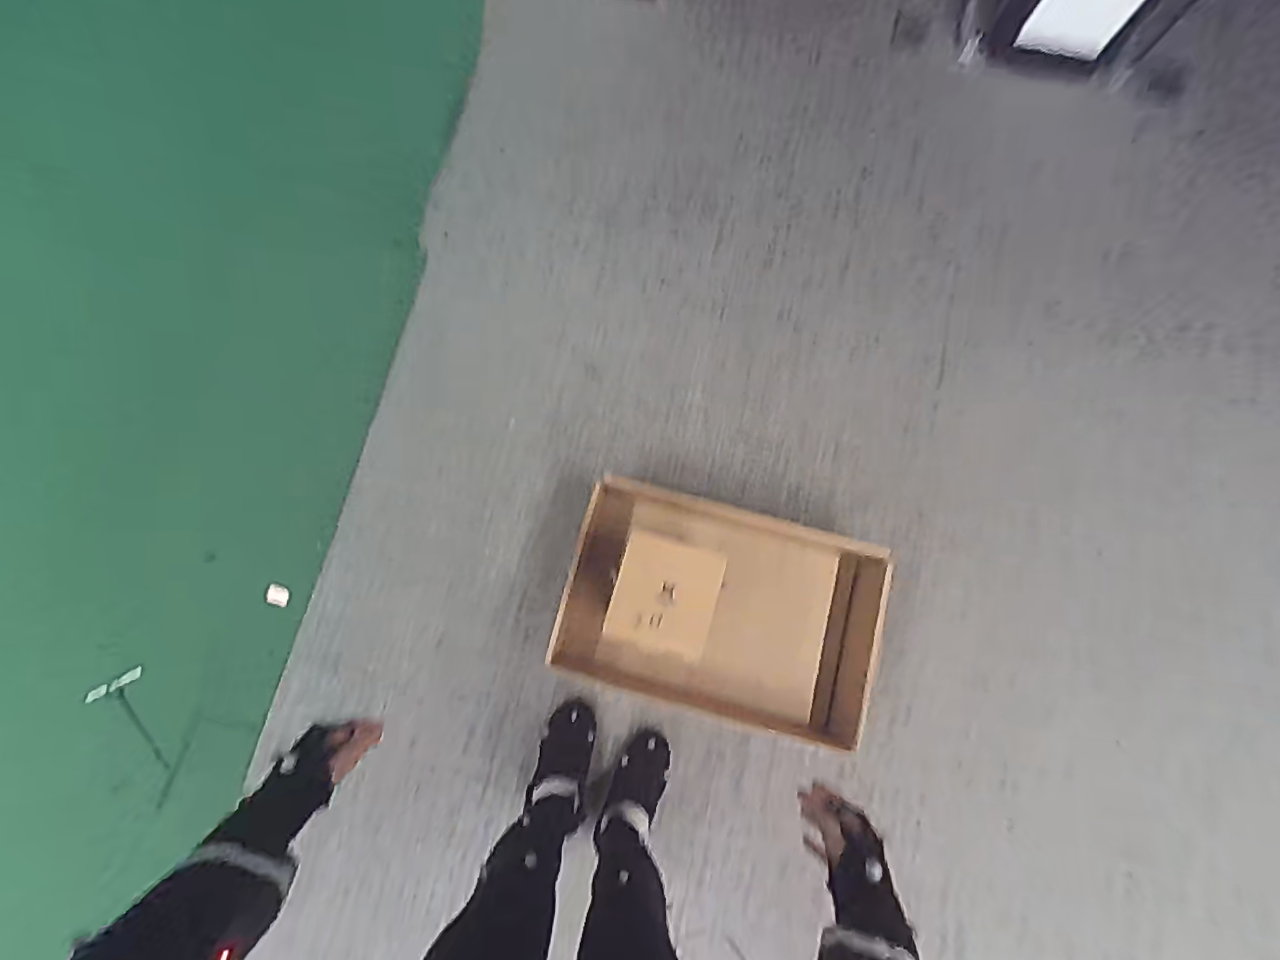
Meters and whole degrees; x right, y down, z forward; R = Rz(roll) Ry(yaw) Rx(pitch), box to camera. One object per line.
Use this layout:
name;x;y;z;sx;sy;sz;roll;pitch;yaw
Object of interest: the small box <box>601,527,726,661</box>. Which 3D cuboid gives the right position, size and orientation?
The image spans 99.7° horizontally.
small box;0.038;0.196;0.952;0.168;0.176;0.179;18;80;3
